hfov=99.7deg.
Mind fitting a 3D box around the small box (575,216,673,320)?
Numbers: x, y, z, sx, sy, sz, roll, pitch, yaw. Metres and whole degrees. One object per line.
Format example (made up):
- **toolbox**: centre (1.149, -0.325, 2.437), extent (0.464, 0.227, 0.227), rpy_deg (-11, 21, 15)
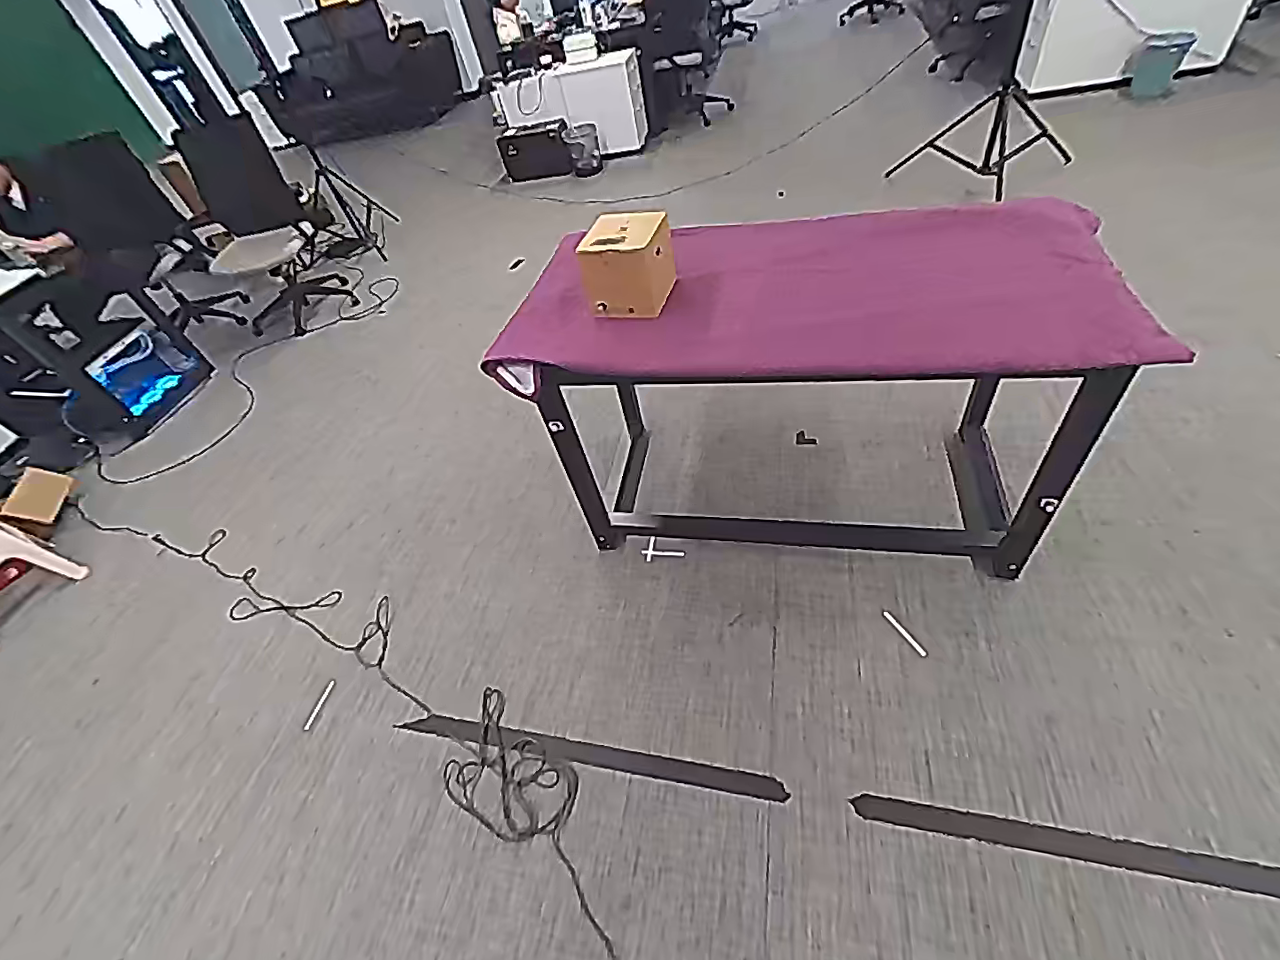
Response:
- **small box**: centre (-0.027, -0.492, 1.266), extent (0.168, 0.176, 0.179), rpy_deg (7, 51, 19)
